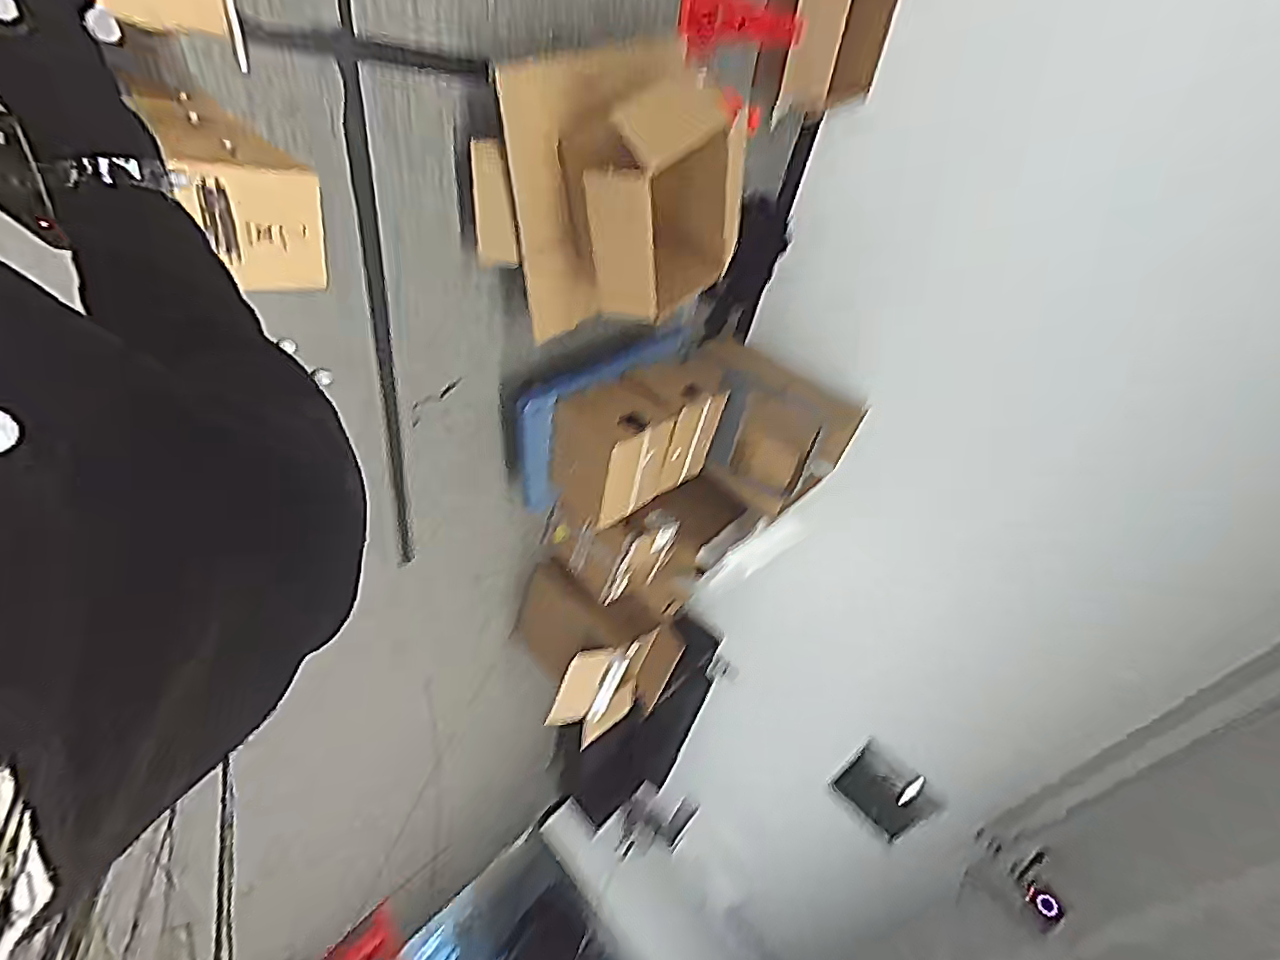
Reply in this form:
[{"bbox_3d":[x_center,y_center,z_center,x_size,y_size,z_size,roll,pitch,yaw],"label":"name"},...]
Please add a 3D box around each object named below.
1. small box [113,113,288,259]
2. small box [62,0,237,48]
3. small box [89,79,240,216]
[{"bbox_3d":[-0.707,-0.471,0.874,0.179,0.176,0.168,-25,143,-44],"label":"small box"},{"bbox_3d":[-0.658,-0.689,0.688,0.168,0.176,0.179,-27,145,-40],"label":"small box"},{"bbox_3d":[-0.818,-0.566,0.950,0.168,0.176,0.179,-22,142,-44],"label":"small box"}]
